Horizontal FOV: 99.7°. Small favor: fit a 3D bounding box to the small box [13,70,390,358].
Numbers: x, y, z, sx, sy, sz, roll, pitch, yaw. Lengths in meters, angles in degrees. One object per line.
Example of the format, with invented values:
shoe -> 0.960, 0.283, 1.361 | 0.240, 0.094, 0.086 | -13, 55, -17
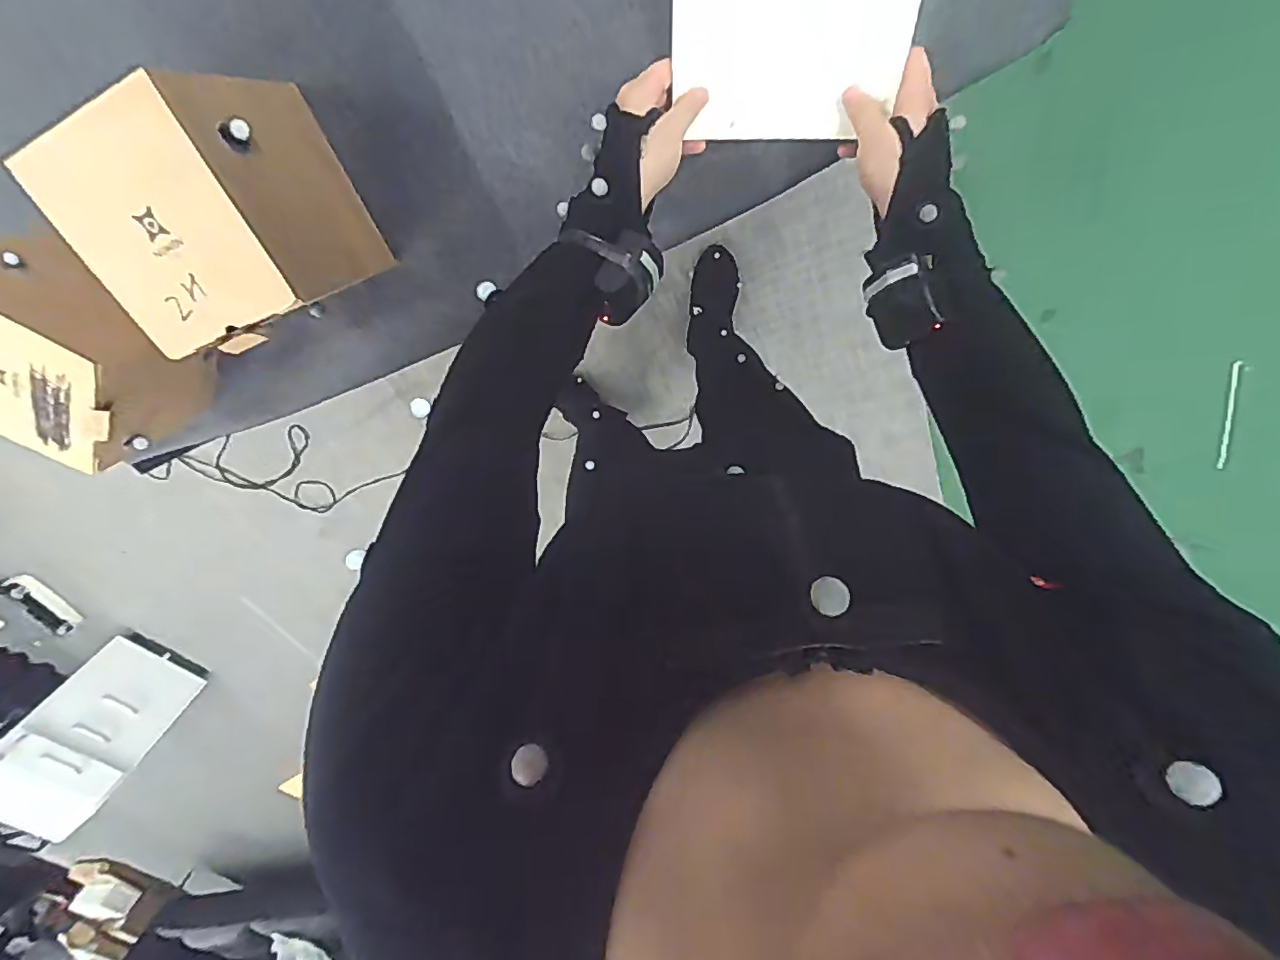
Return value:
small box -> -0.383, -0.245, 0.511 | 0.168, 0.176, 0.179 | -15, 120, 17
